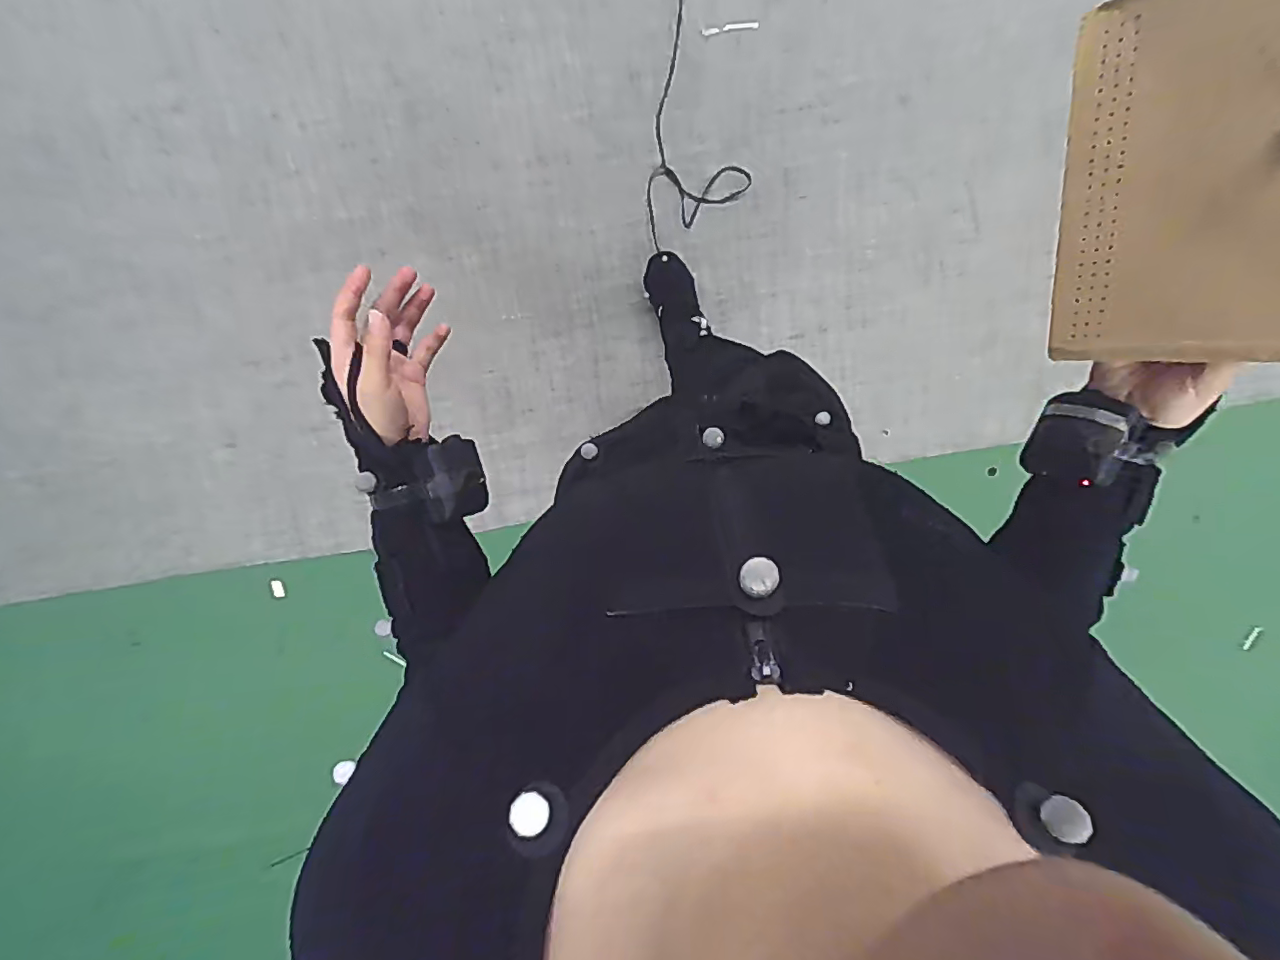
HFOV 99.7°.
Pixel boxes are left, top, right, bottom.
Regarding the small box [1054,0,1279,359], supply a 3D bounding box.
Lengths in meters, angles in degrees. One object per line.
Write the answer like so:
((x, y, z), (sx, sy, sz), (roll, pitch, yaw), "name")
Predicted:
((0.338, -0.157, 0.256), (0.168, 0.176, 0.179), (-12, 105, -17), "small box")
